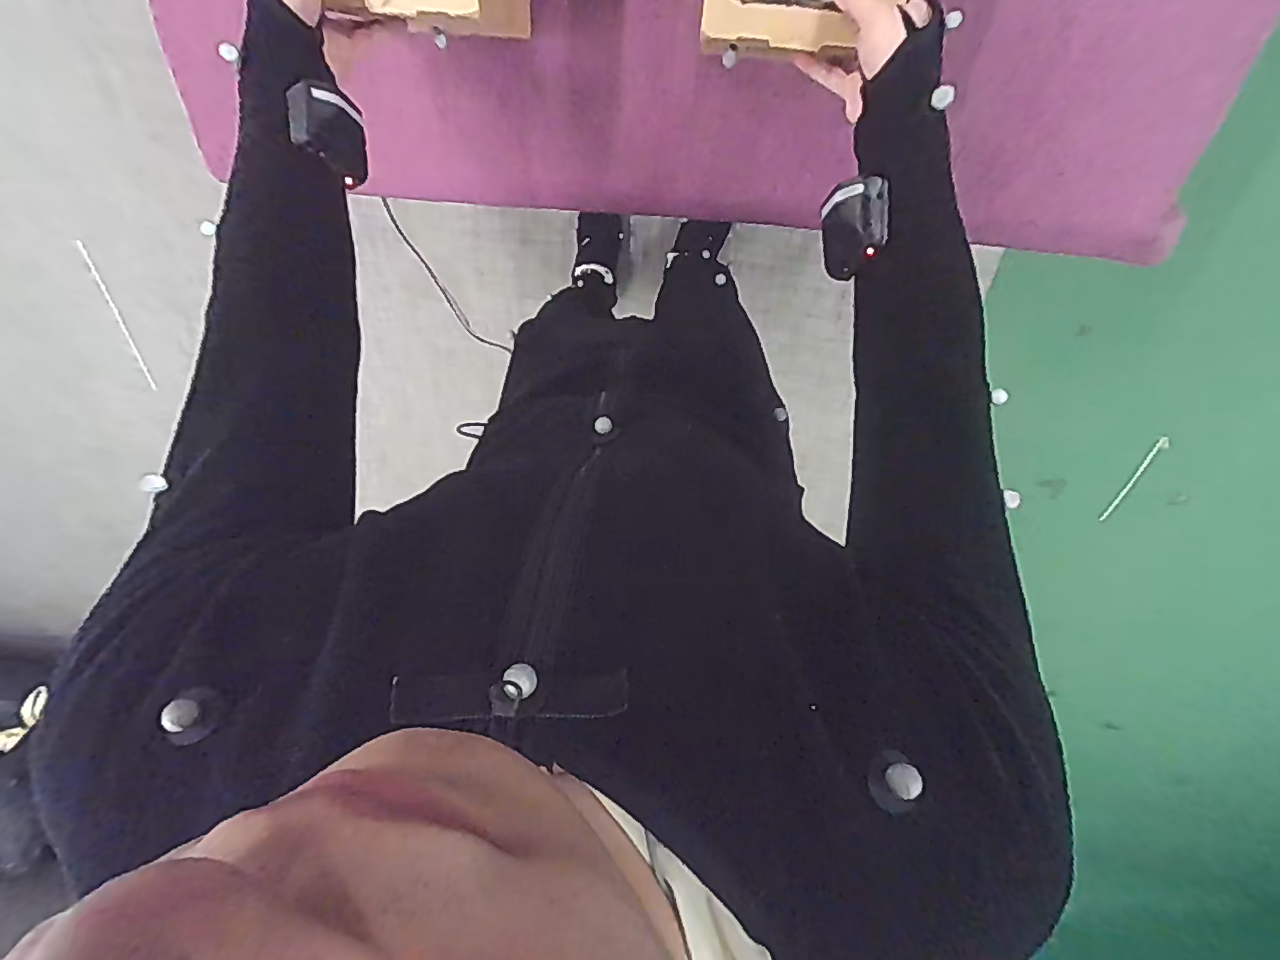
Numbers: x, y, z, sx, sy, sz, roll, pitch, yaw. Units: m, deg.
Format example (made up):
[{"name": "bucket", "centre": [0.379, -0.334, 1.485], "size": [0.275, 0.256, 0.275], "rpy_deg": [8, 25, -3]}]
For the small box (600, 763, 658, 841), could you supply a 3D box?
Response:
[{"name": "small box", "centre": [-0.036, 1.140, 1.918], "size": [0.168, 0.176, 0.179], "rpy_deg": [13, 125, -1]}]

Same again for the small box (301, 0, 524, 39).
[{"name": "small box", "centre": [-0.208, -0.524, 0.487], "size": [0.168, 0.176, 0.179], "rpy_deg": [7, 125, 2]}]
